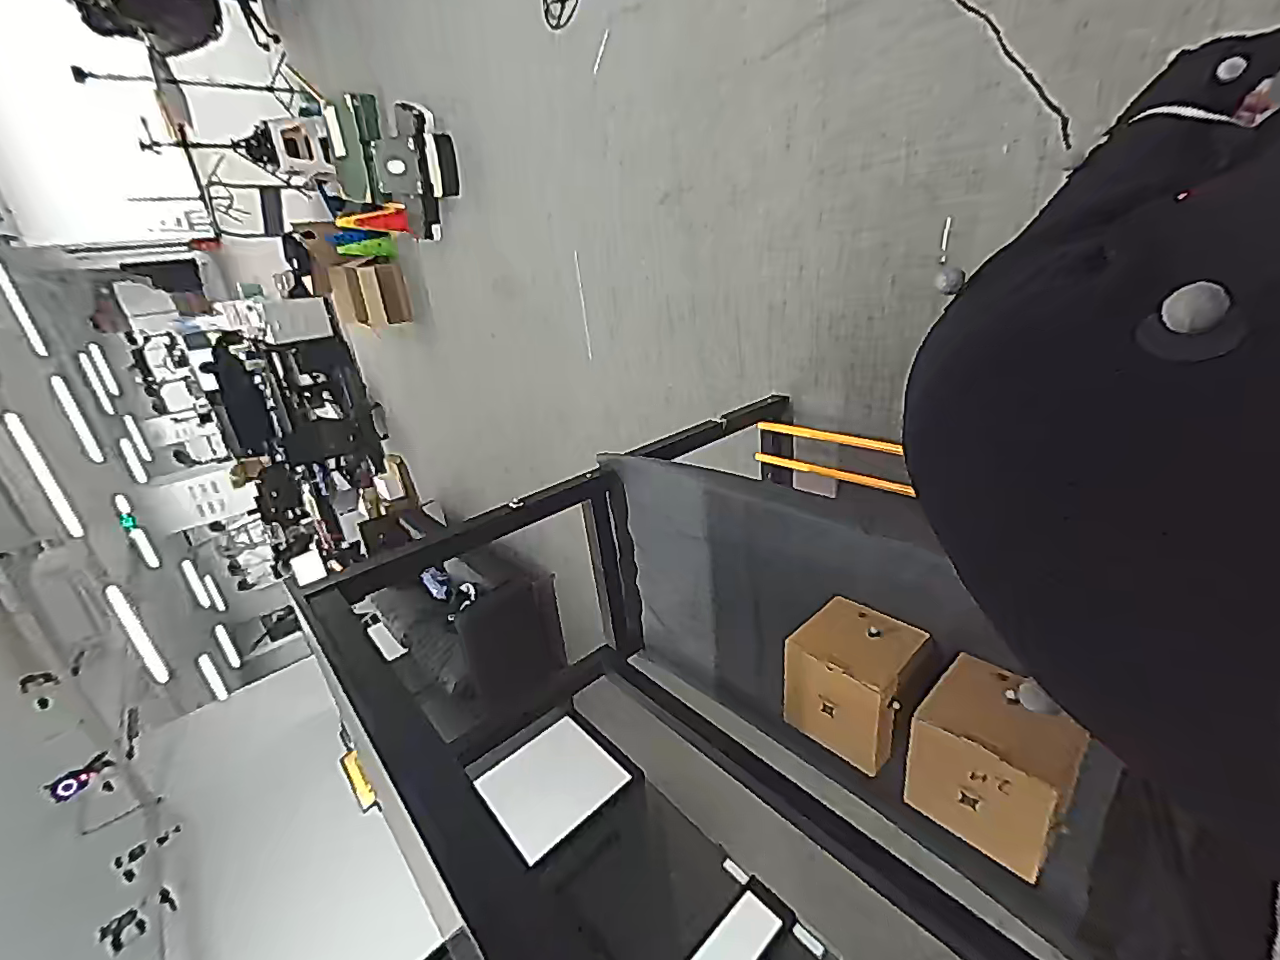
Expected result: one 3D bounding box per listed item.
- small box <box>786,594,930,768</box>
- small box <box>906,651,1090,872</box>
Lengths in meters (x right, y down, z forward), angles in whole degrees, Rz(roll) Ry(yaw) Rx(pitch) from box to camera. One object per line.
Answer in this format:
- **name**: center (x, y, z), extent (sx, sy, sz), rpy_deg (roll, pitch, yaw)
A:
- **small box**: center (0.364, 0.325, 0.908), extent (0.168, 0.176, 0.179), rpy_deg (19, 124, 45)
- **small box**: center (0.498, 0.380, 0.760), extent (0.168, 0.176, 0.179), rpy_deg (18, 124, 46)
